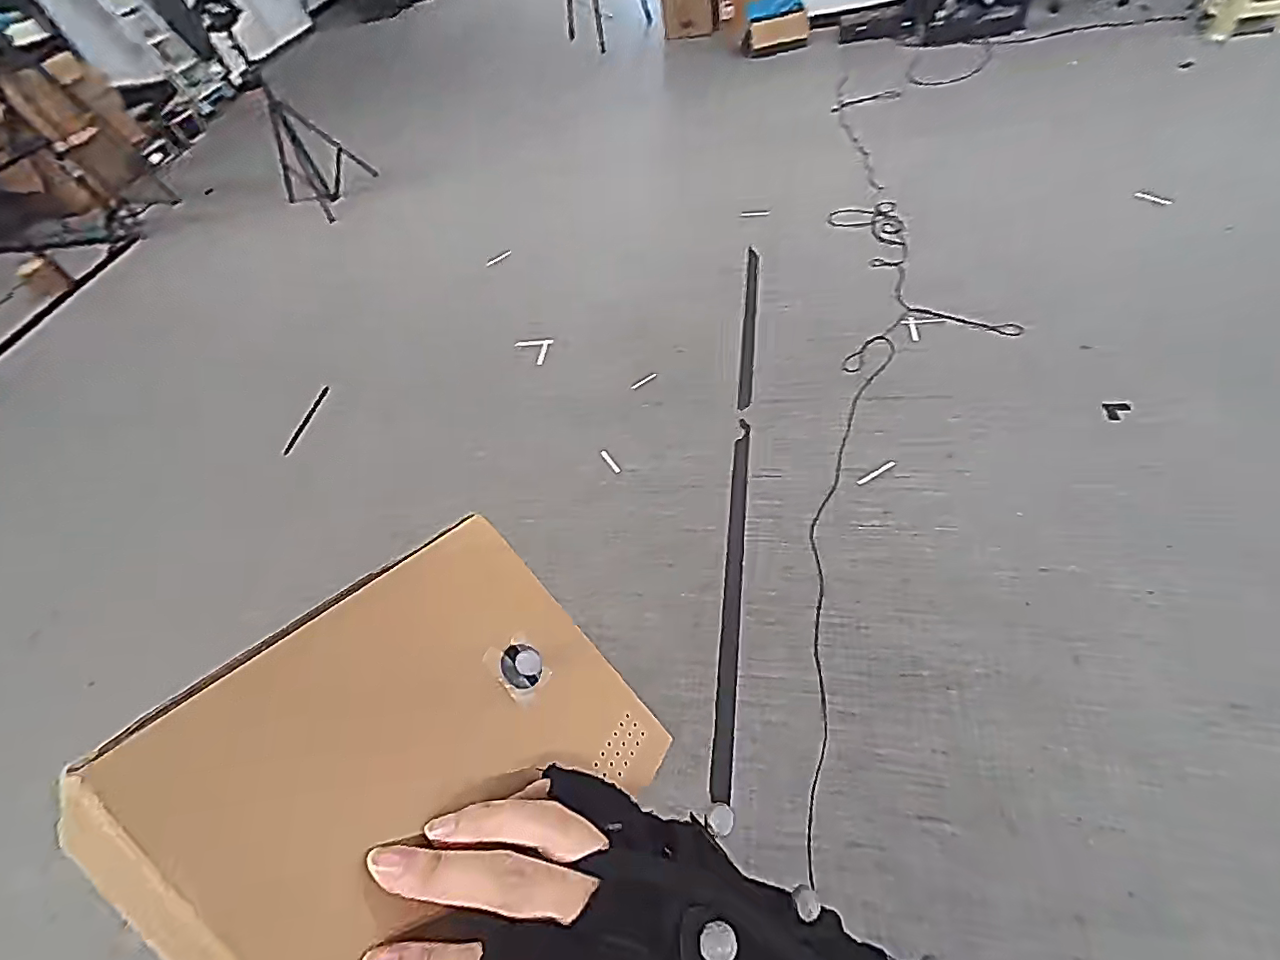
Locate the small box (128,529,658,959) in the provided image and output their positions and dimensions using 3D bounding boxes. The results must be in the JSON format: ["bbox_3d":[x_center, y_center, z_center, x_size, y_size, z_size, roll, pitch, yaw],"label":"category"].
[{"bbox_3d":[-0.116,0.162,0.290,0.176,0.168,0.179,50,37,1],"label":"small box"}]
